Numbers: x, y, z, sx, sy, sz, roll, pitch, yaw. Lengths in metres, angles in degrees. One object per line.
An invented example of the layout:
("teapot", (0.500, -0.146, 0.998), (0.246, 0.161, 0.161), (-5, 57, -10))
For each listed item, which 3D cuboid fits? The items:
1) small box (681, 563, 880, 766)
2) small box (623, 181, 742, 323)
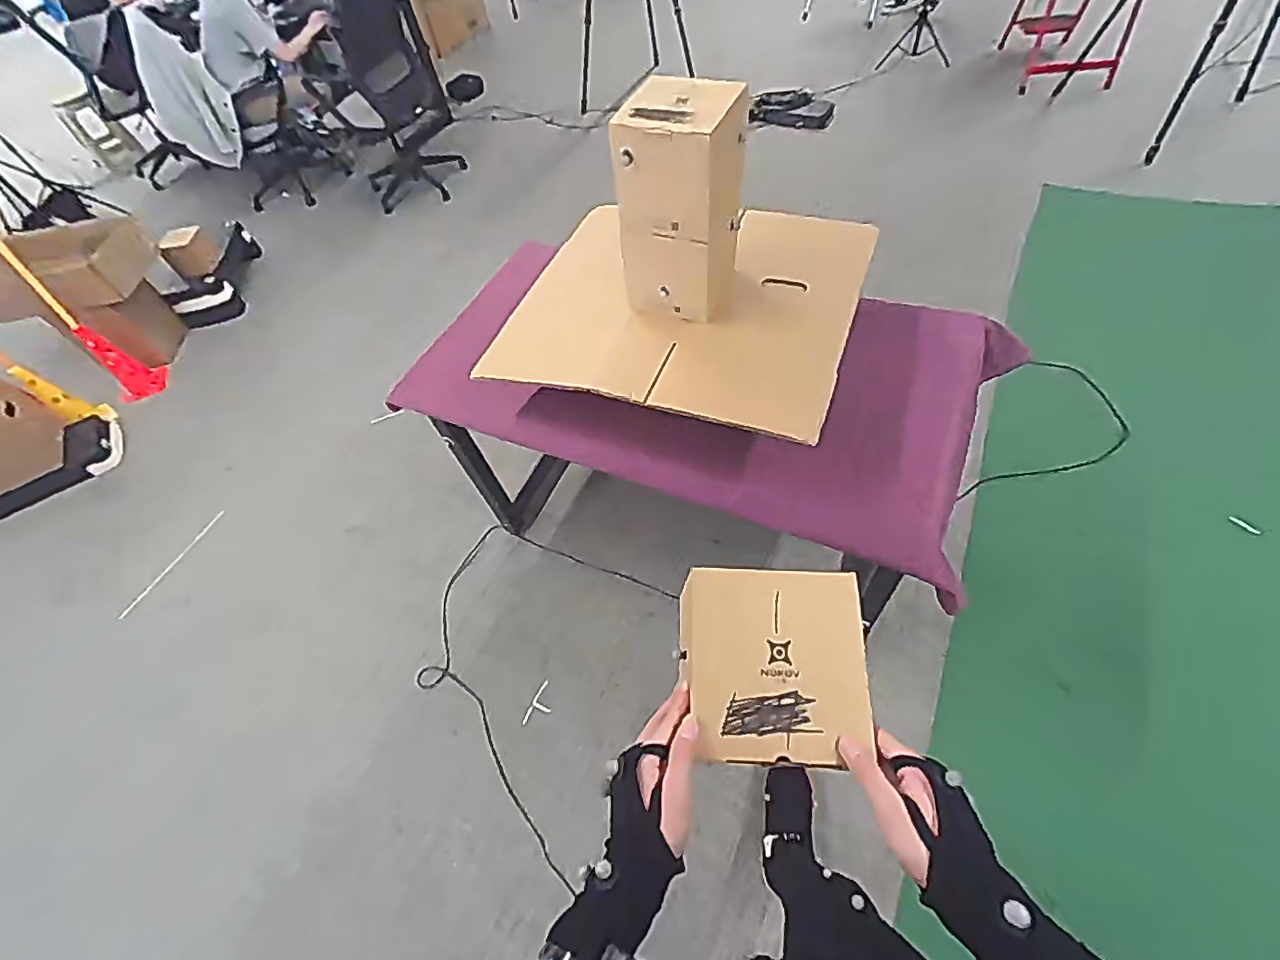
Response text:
("small box", (0.133, 0.195, 0.577), (0.168, 0.176, 0.179), (2, 68, 1))
("small box", (0.082, -0.429, 1.022), (0.168, 0.176, 0.179), (18, 61, 17))
